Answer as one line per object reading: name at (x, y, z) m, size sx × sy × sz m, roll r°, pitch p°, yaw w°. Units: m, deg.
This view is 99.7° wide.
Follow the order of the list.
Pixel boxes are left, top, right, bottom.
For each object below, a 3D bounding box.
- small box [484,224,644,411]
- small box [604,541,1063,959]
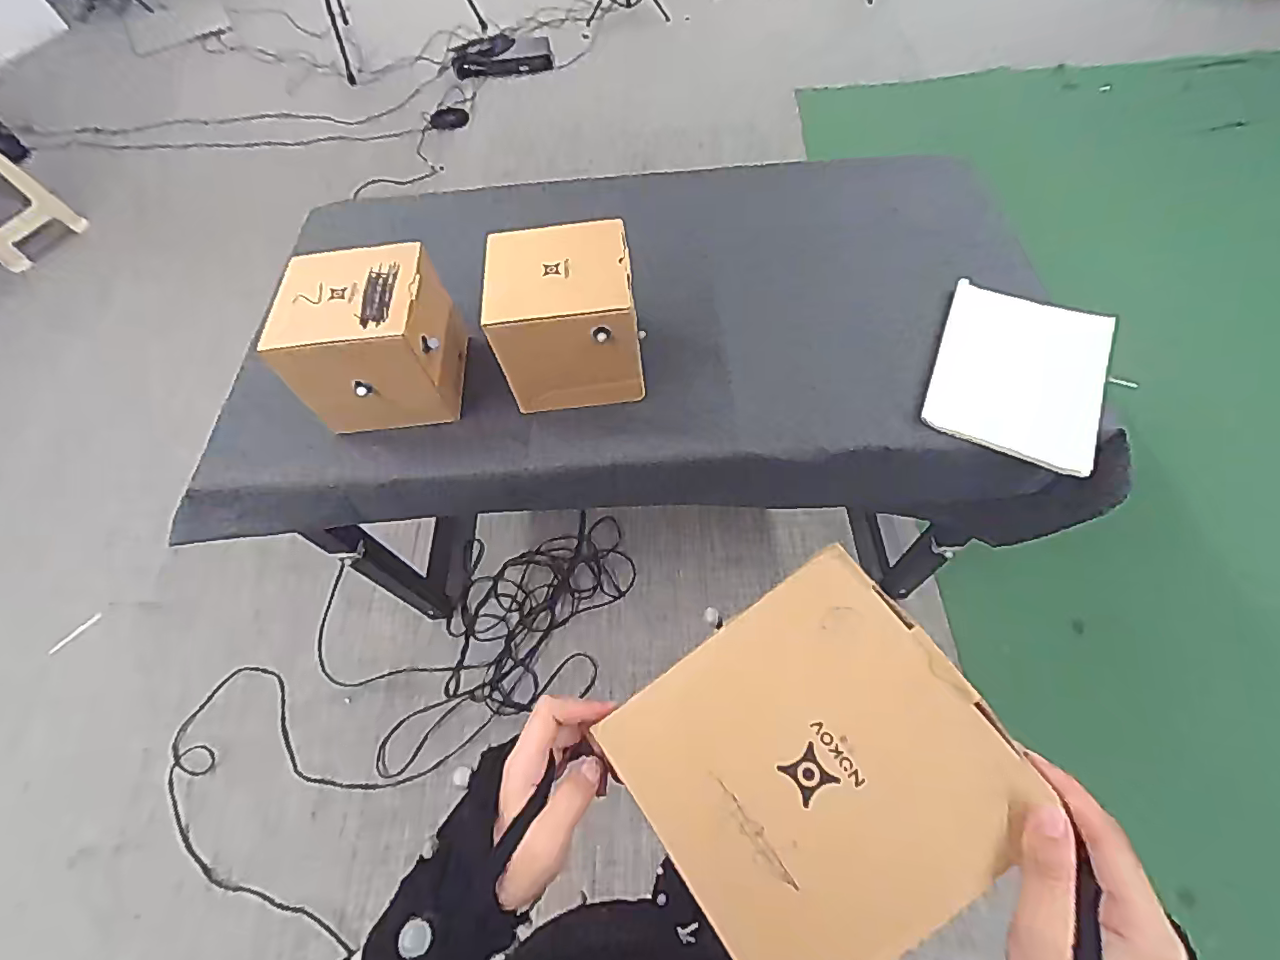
small box at (-0.092, -0.208, 0.722) m, size 0.179 × 0.176 × 0.168 m, roll -6°, pitch 59°, yaw 1°
small box at (0.104, 0.165, 0.358) m, size 0.179 × 0.176 × 0.168 m, roll -37°, pitch 72°, yaw -2°
